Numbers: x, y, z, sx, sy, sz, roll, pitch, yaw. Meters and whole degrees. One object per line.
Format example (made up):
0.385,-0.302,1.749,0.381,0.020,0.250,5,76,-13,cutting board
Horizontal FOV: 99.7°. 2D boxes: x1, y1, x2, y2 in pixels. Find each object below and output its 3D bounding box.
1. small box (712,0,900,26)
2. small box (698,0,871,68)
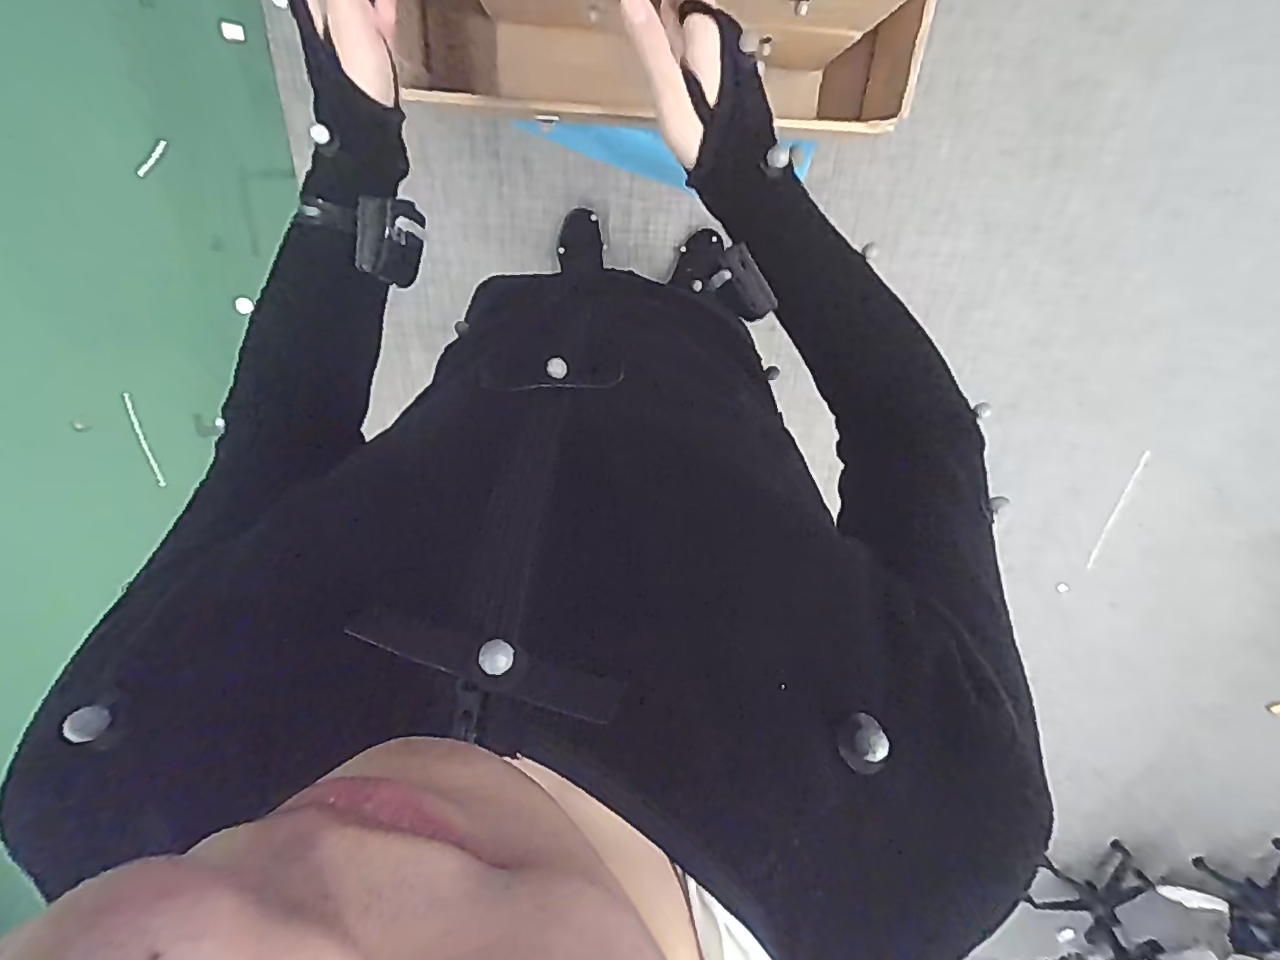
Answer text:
0.163,-0.514,0.457,0.179,0.176,0.168,3,116,0,small box
0.163,-0.585,0.604,0.179,0.176,0.168,4,117,-1,small box
